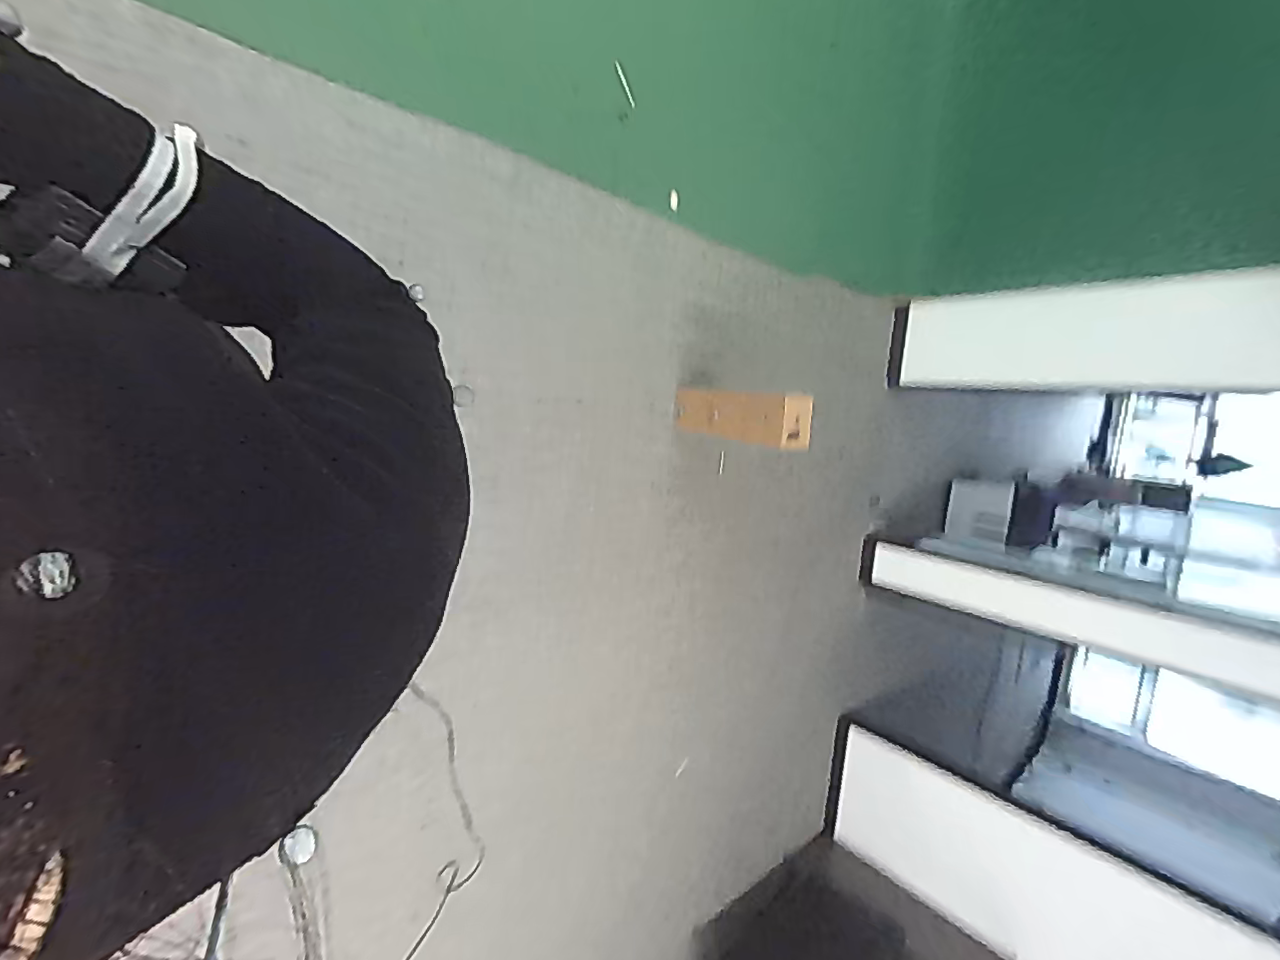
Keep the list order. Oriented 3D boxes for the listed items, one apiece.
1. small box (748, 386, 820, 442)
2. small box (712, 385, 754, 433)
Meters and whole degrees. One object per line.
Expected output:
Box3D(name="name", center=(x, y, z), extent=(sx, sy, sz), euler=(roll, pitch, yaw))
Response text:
Box3D(name="small box", center=(0.488, -0.227, 1.847), extent=(0.168, 0.176, 0.179), euler=(-5, 102, -40))
Box3D(name="small box", center=(0.387, -0.262, 1.973), extent=(0.179, 0.176, 0.168), euler=(-7, 103, -39))
